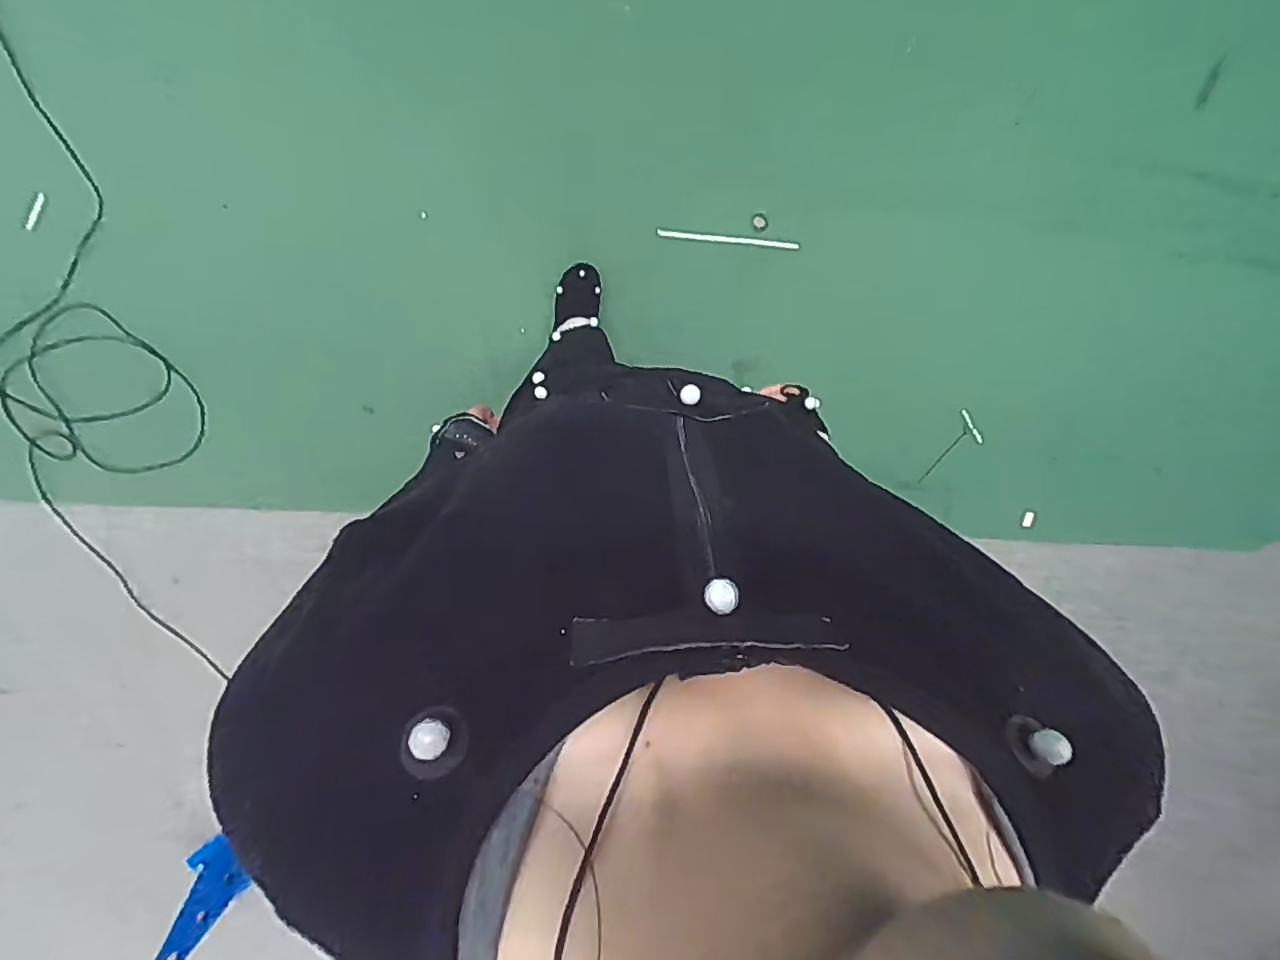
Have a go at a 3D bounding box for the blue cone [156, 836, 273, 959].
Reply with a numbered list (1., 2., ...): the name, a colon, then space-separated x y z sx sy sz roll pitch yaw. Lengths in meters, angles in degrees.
1. blue cone: -1.216 1.219 1.478 0.193 0.380 0.192 -40 106 6
